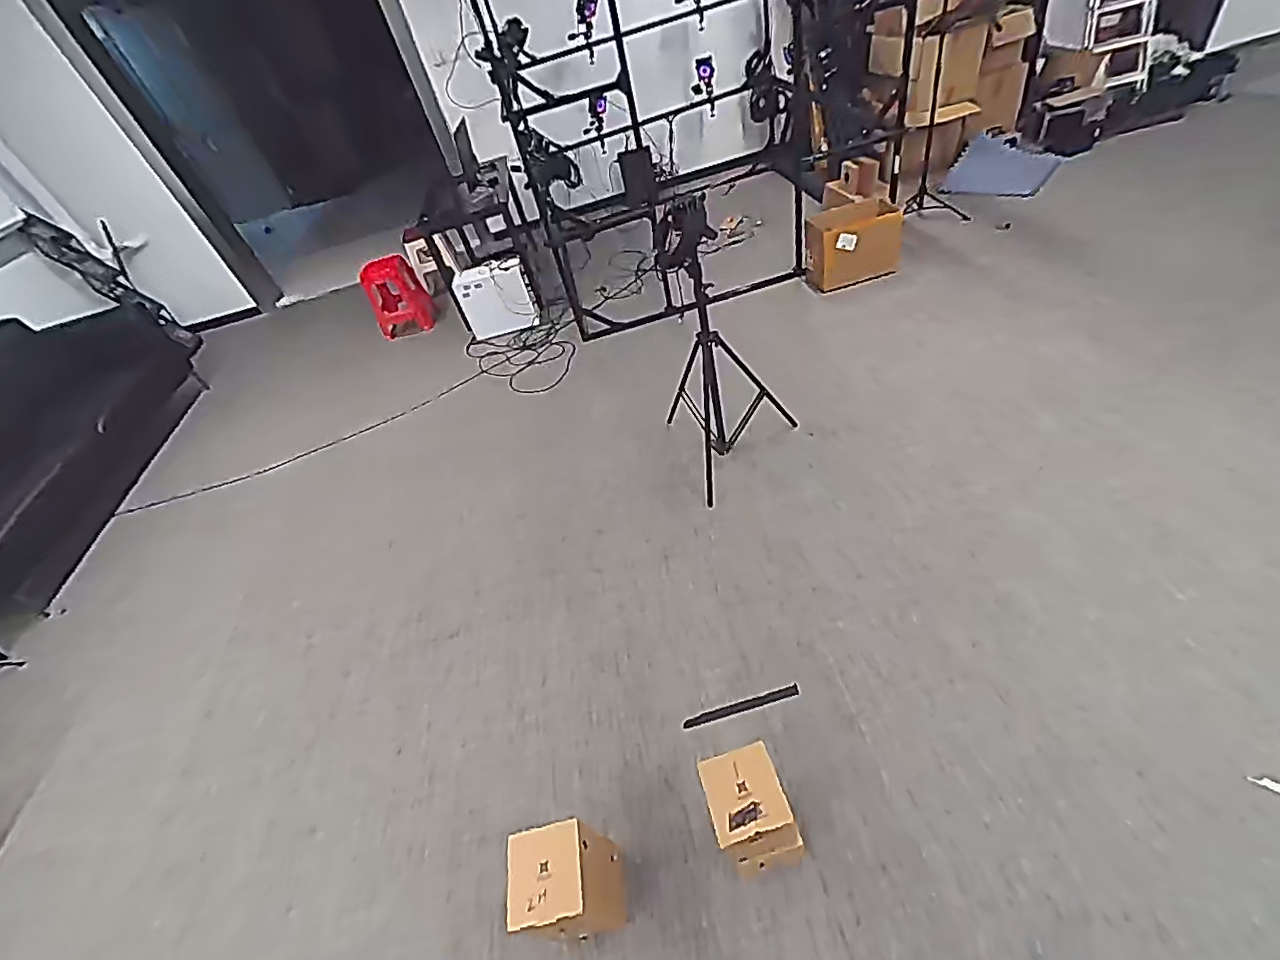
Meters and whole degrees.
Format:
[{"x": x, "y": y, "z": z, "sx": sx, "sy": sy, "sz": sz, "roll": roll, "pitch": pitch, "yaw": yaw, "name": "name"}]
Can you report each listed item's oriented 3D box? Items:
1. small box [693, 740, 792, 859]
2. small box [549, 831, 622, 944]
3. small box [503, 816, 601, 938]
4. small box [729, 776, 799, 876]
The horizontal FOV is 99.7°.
[{"x": 0.234, "y": 0.730, "z": 1.226, "sx": 0.168, "sy": 0.176, "sz": 0.179, "roll": -18, "pitch": 41, "yaw": -1, "name": "small box"}, {"x": -0.150, "y": 0.994, "z": 1.318, "sx": 0.168, "sy": 0.176, "sz": 0.179, "roll": -16, "pitch": 43, "yaw": 3, "name": "small box"}, {"x": -0.193, "y": 0.885, "z": 1.203, "sx": 0.168, "sy": 0.176, "sz": 0.179, "roll": -16, "pitch": 44, "yaw": 3, "name": "small box"}, {"x": 0.282, "y": 0.846, "z": 1.332, "sx": 0.168, "sy": 0.176, "sz": 0.179, "roll": -19, "pitch": 42, "yaw": -1, "name": "small box"}]
